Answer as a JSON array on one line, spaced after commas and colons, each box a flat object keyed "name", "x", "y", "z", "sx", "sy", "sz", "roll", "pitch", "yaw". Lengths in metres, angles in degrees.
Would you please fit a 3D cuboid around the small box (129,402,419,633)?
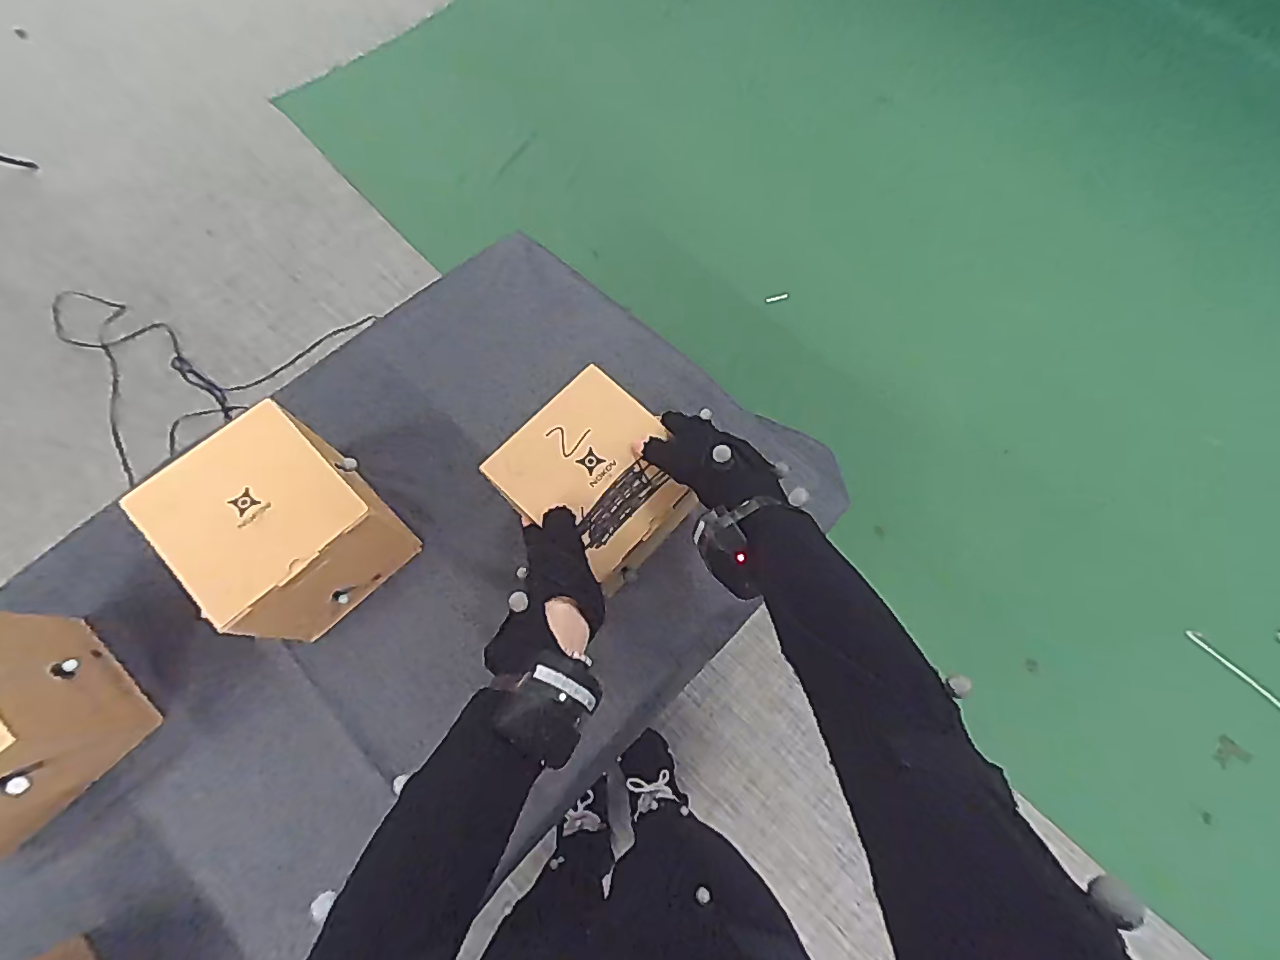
[{"name": "small box", "x": -0.385, "y": 0.054, "z": 0.604, "sx": 0.179, "sy": 0.176, "sz": 0.168, "roll": 44, "pitch": 73, "yaw": 10}]

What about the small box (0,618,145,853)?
[{"name": "small box", "x": -0.636, "y": 0.245, "z": 0.514, "sx": 0.168, "sy": 0.176, "sz": 0.179, "roll": 43, "pitch": 73, "yaw": 10}]
